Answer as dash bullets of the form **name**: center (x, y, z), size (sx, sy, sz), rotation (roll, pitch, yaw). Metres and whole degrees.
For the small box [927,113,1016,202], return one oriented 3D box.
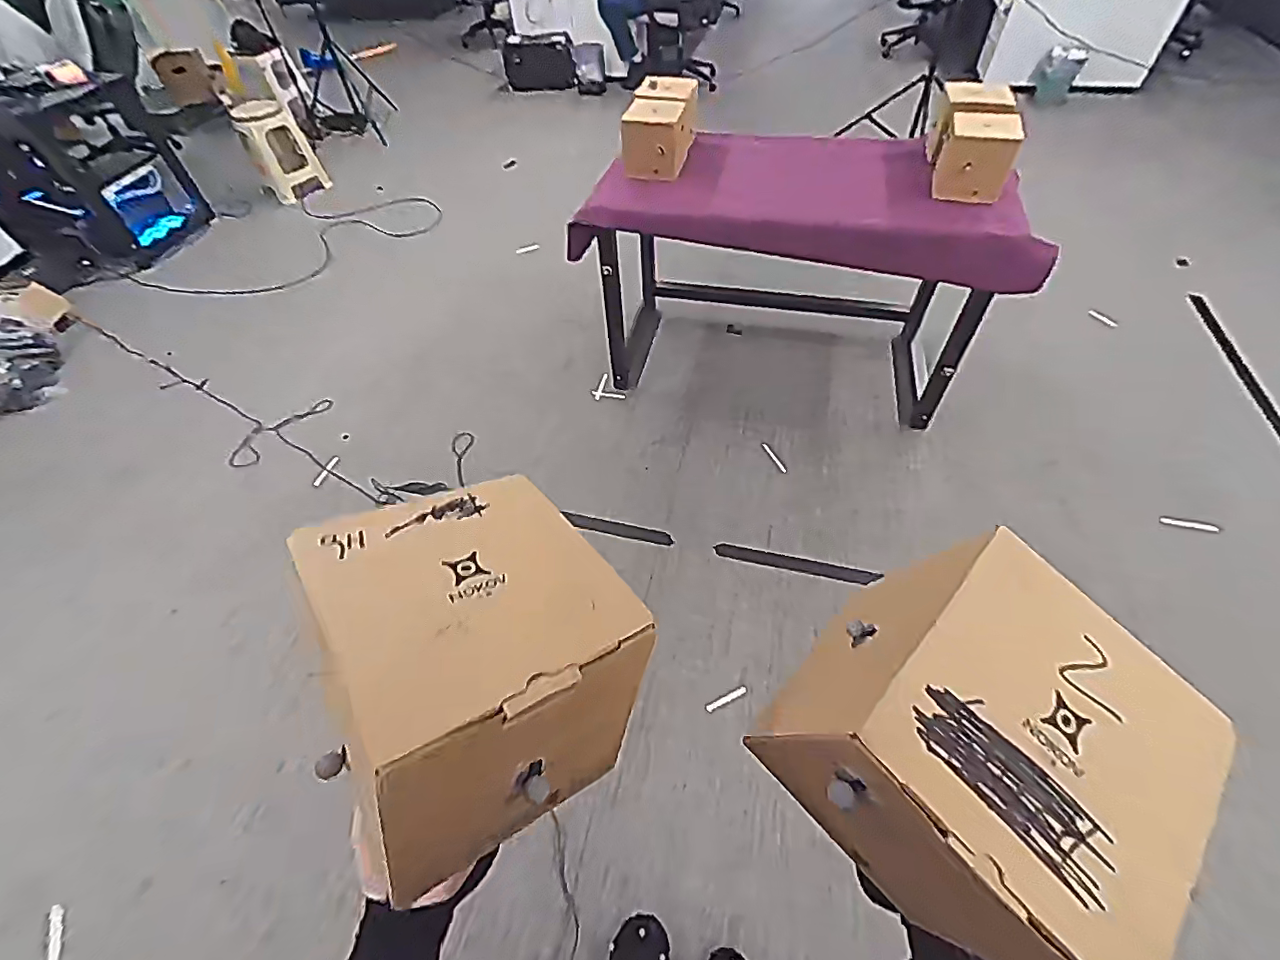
- **small box**: center (0.918, -0.899, 1.509), size (0.168, 0.176, 0.179), rotation (13, 53, 14)

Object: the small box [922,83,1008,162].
- **small box**: center (0.971, -1.075, 1.636), size (0.179, 0.176, 0.168), rotation (11, 54, 11)

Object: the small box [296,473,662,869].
- **small box**: center (-0.114, 0.124, 0.374), size (0.168, 0.176, 0.179), rotation (-16, 44, -38)

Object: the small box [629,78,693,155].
- **small box**: center (0.073, -1.206, 1.797), size (0.179, 0.176, 0.168), rotation (12, 55, 11)
